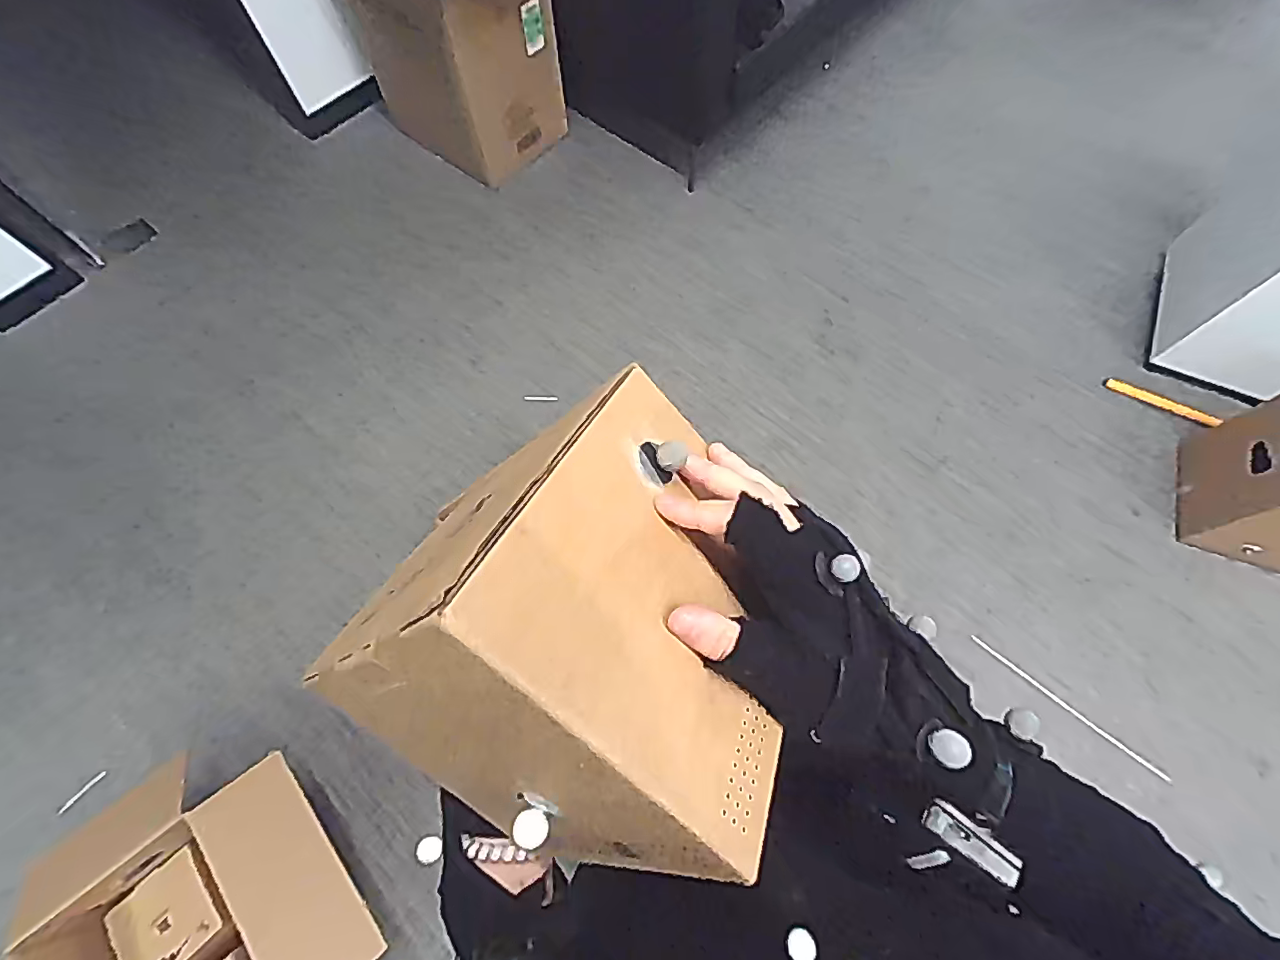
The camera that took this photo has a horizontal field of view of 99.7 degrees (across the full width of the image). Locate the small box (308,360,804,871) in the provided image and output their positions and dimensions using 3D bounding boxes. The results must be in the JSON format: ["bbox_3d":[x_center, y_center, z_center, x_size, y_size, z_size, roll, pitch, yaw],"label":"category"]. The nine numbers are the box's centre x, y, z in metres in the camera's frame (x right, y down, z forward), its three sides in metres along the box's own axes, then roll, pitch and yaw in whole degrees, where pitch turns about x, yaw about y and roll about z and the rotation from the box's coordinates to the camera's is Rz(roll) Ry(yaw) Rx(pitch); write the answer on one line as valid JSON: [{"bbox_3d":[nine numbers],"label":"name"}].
[{"bbox_3d":[-0.030,0.073,0.301,0.176,0.168,0.179,46,43,-16],"label":"small box"}]
